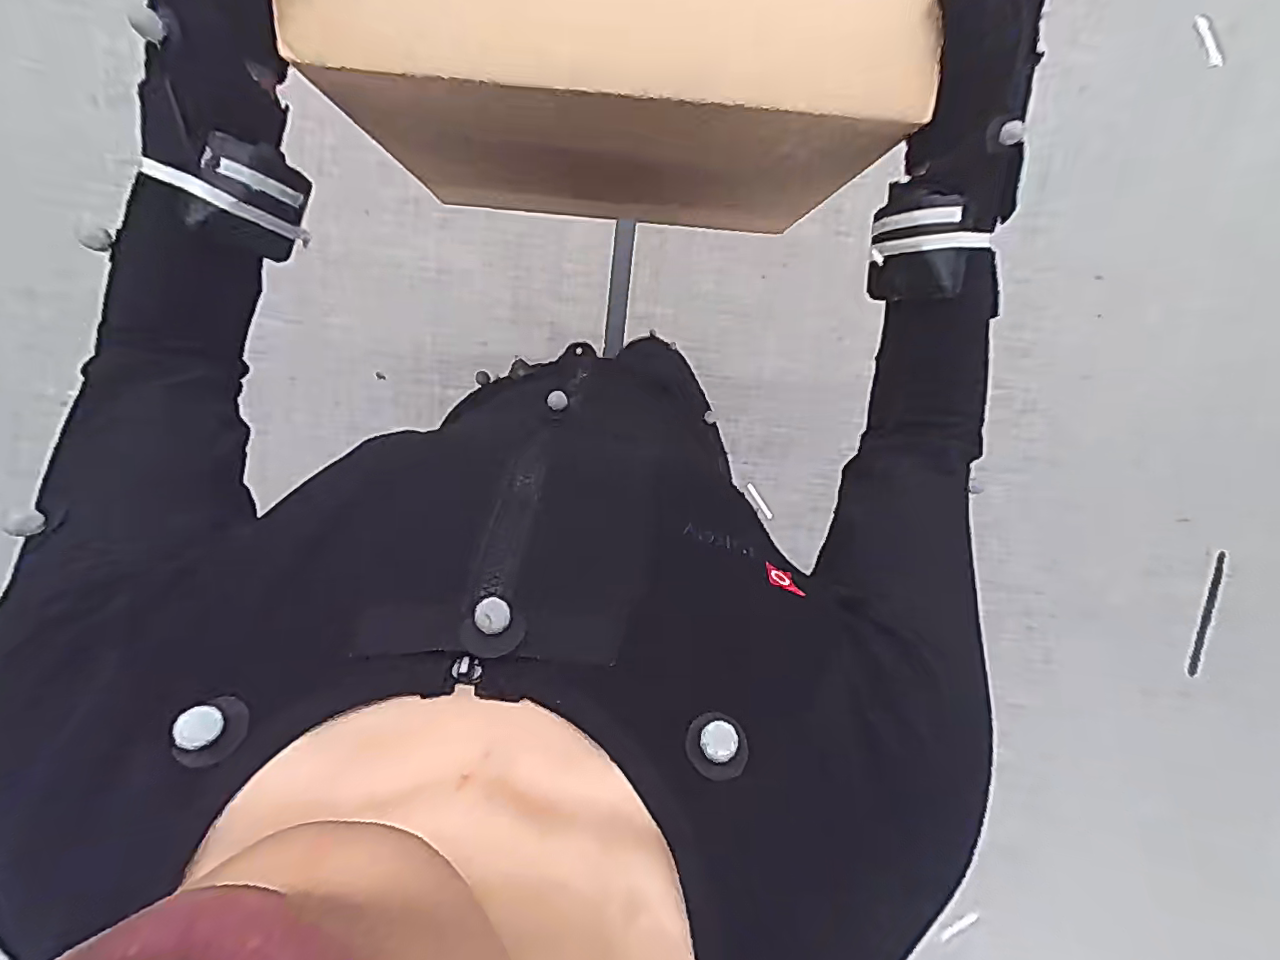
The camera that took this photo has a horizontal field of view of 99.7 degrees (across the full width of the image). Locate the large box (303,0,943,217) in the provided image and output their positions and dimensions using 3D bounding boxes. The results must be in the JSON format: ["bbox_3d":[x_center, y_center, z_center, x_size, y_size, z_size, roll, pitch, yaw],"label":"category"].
[{"bbox_3d":[-0.010,-0.435,0.456,0.408,0.320,0.320,3,103,-5],"label":"large box"}]
